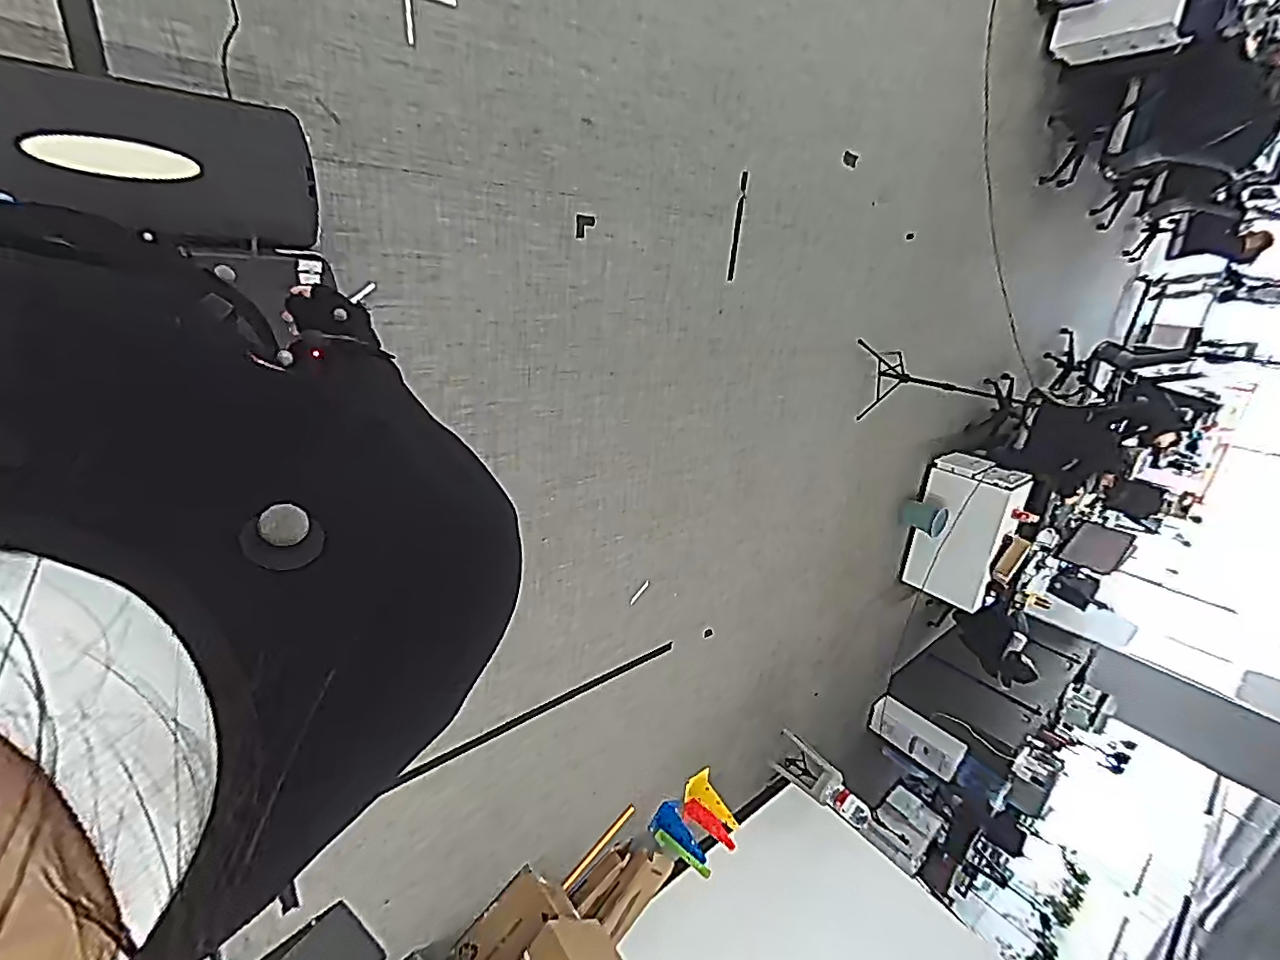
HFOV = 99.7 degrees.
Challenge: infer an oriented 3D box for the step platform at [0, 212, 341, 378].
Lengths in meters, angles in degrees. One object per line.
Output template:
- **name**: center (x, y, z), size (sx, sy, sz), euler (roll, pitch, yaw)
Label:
- **step platform**: center (-1.009, -0.380, 1.120), size (0.684, 0.204, 0.286), euler (-14, 117, -36)
